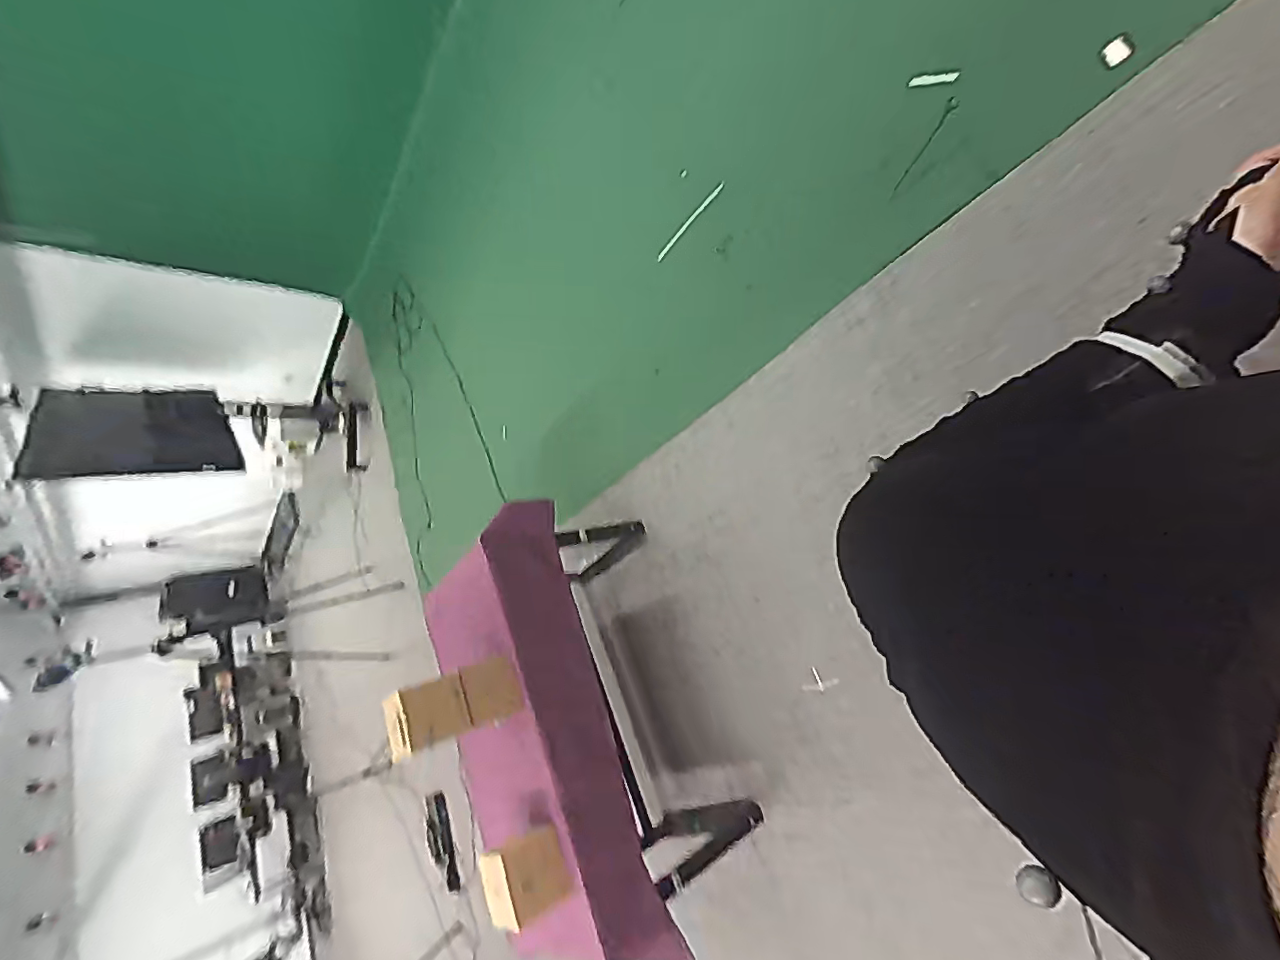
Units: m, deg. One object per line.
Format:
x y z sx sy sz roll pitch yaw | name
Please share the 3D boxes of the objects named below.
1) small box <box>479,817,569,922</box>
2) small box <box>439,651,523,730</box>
-0.318 1.064 1.491 0.168 0.176 0.179 -36 66 42 | small box
-0.481 0.629 1.636 0.168 0.176 0.179 -37 67 42 | small box
